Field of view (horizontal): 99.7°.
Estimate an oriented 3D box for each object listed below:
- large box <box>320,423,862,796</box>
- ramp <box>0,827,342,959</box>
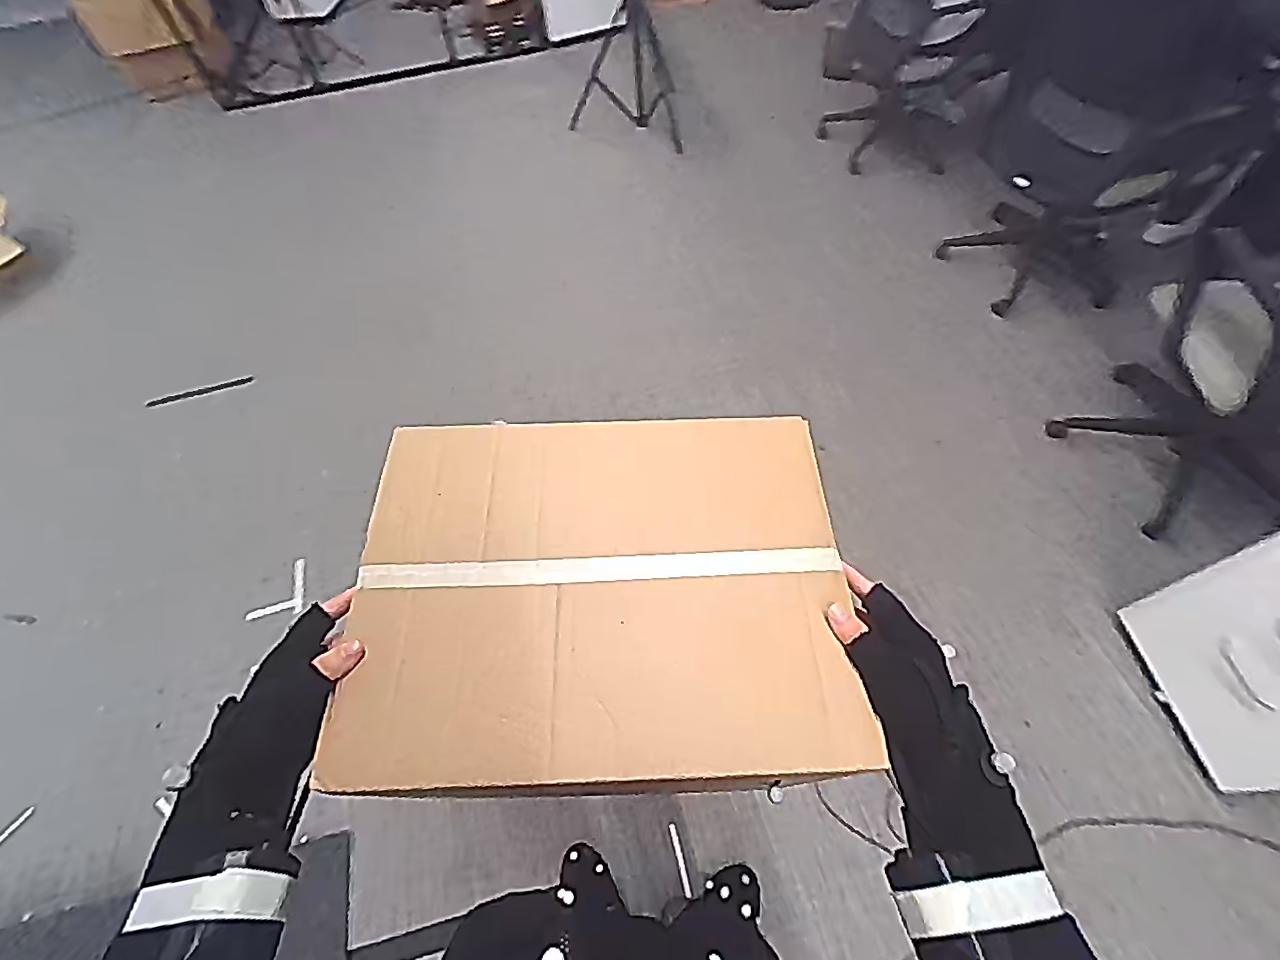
[{"bbox_3d":[-0.040,0.157,0.594,0.408,0.320,0.320,-2,58,-2],"label":"large box"},{"bbox_3d":[-1.107,1.064,1.007,0.991,0.206,0.509,-15,57,-7],"label":"ramp"}]
